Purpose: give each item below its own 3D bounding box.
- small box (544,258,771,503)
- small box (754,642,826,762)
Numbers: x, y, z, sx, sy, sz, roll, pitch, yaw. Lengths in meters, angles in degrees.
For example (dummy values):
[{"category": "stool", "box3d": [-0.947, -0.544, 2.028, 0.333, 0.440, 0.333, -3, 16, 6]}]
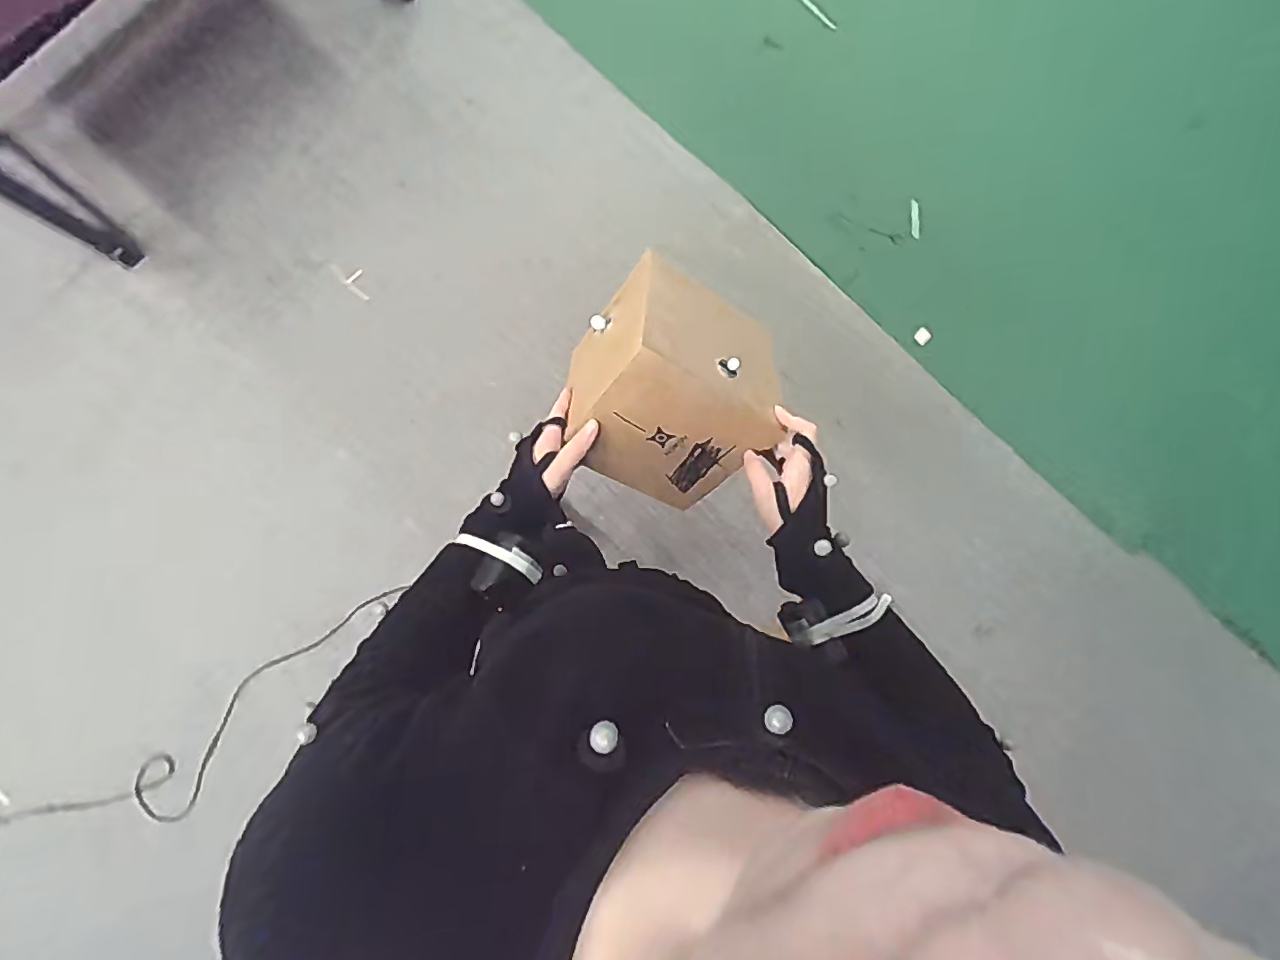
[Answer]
[{"category": "small box", "box3d": [0.019, -0.108, 0.598, 0.179, 0.168, 0.176, 25, 45, -23]}, {"category": "small box", "box3d": [0.394, 0.505, 1.263, 0.179, 0.176, 0.168, -43, 88, -7]}]
